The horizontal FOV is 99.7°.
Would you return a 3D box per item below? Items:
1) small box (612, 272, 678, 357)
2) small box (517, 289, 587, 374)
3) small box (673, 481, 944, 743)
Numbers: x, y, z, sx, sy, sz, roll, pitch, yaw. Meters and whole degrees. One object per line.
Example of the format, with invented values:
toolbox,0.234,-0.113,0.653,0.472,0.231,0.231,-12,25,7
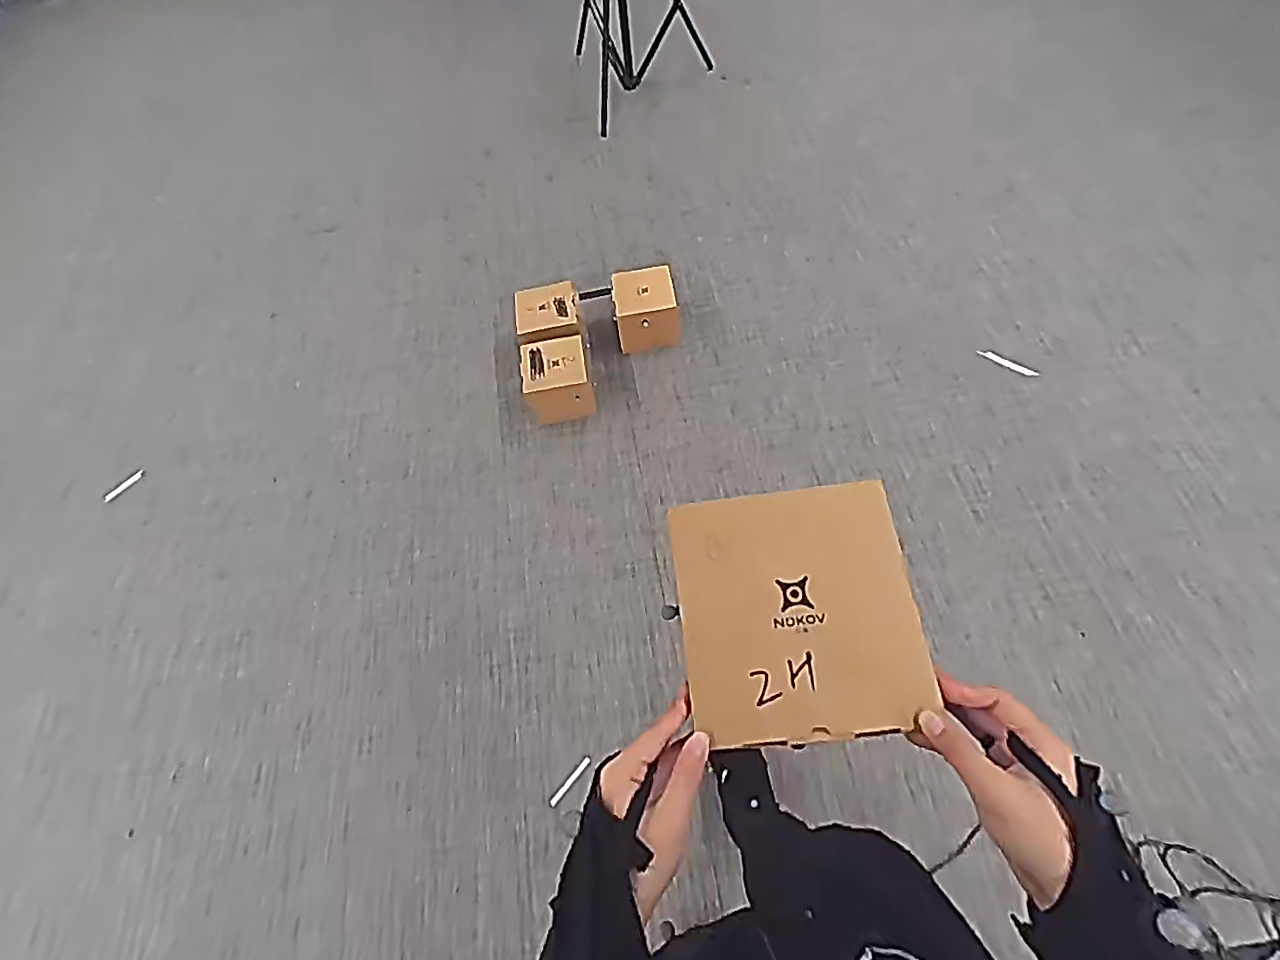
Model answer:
small box,0.019,-0.496,1.637,0.179,0.176,0.168,-9,64,2
small box,-0.261,-0.447,1.641,0.179,0.176,0.168,-10,64,2
small box,0.122,0.119,0.467,0.168,0.176,0.179,-8,69,4
